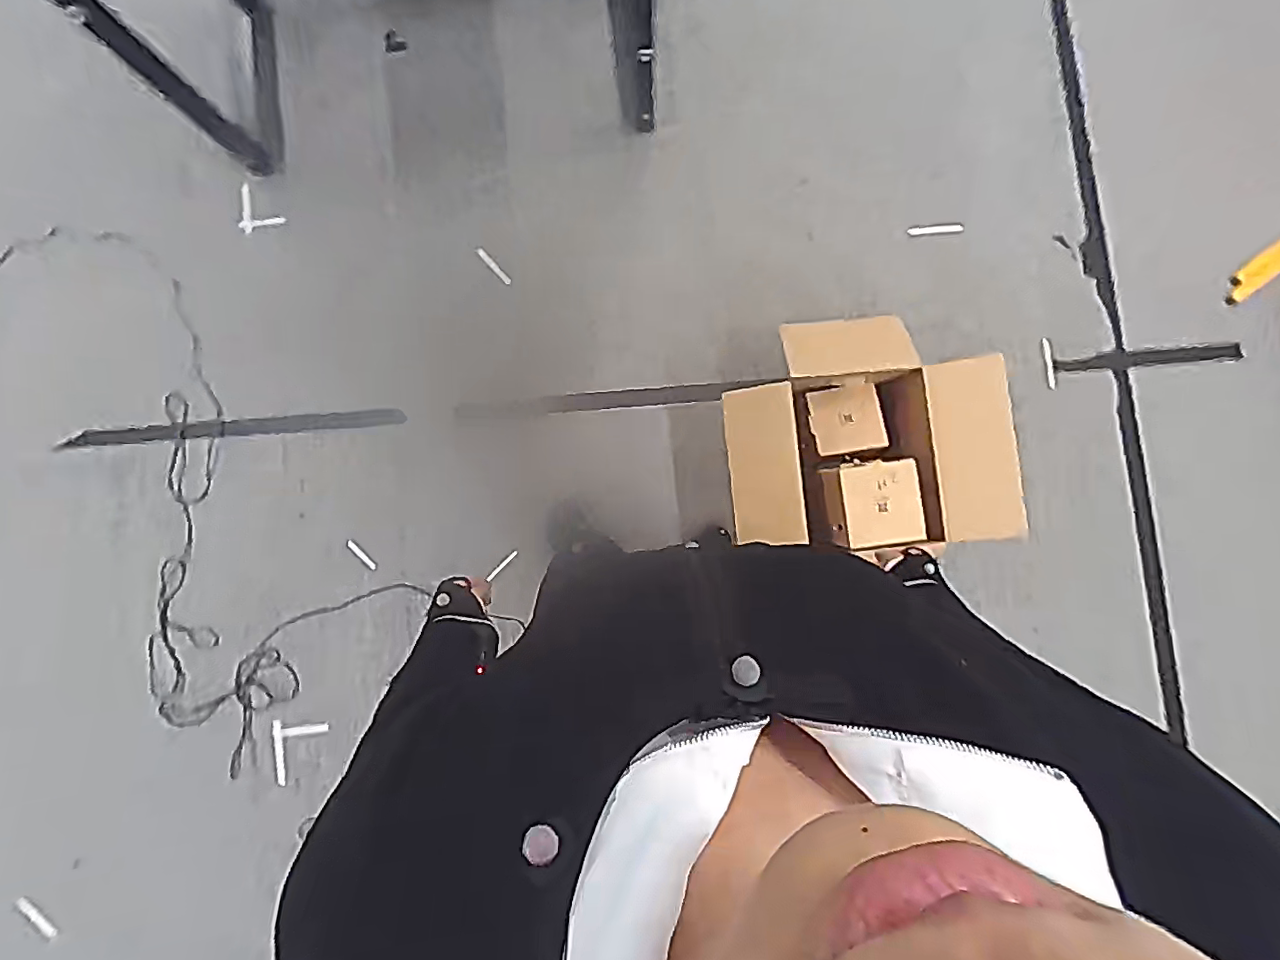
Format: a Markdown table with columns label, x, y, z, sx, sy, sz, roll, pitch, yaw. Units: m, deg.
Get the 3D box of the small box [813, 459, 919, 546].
| label | x | y | z | sx | sy | sz | roll | pitch | yaw |
| --- | --- | --- | --- | --- | --- | --- | --- | --- | --- |
| small box | 0.513 | 0.050 | 1.246 | 0.168 | 0.176 | 0.179 | -8 | 88 | 0 |
